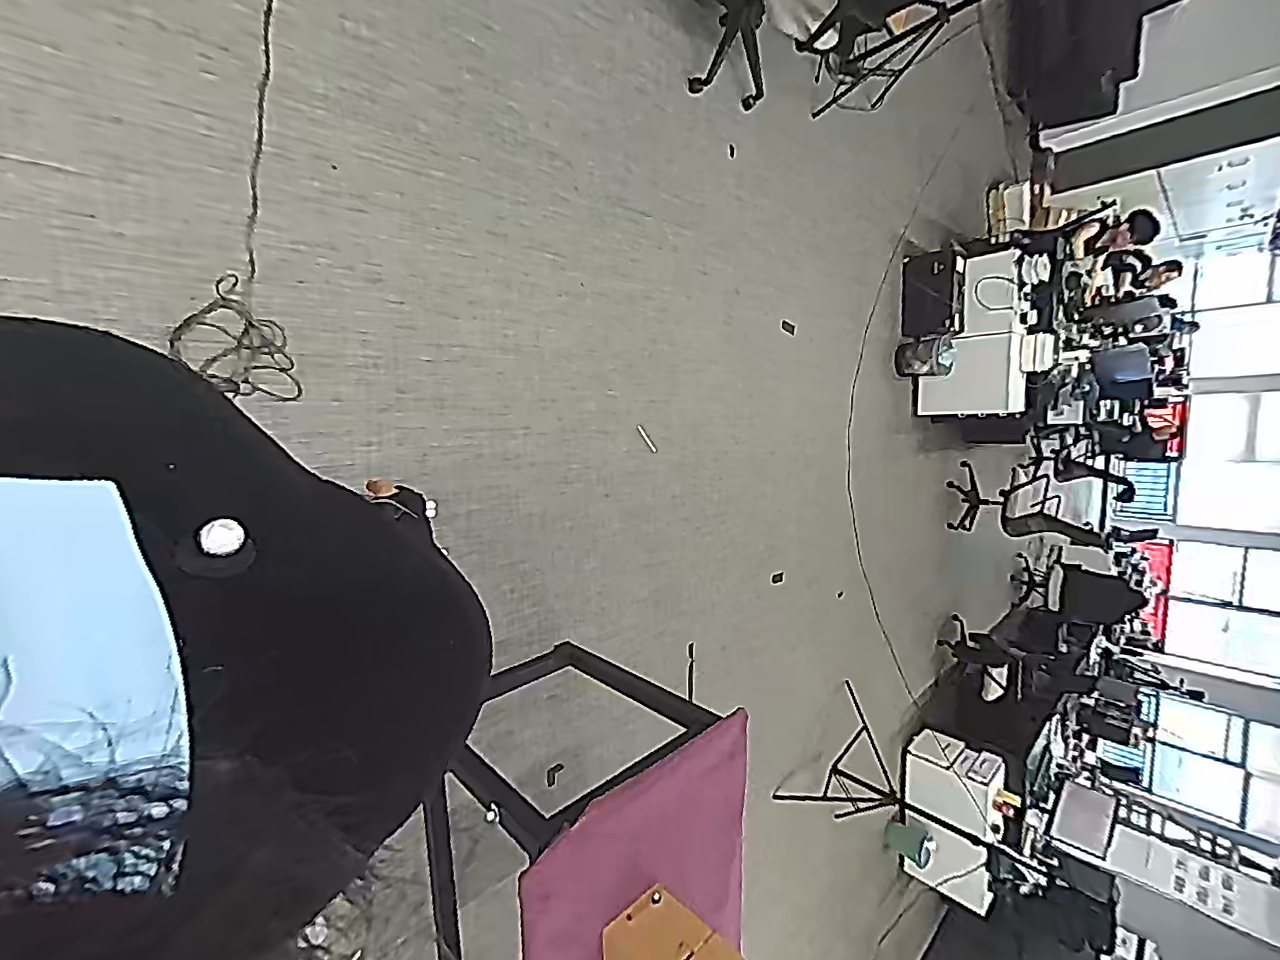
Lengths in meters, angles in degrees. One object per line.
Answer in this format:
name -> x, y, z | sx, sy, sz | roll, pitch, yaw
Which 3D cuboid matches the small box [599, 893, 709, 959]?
small box -> 0.027, 1.018, 1.128 | 0.168, 0.176, 0.179 | -8, 100, -43
